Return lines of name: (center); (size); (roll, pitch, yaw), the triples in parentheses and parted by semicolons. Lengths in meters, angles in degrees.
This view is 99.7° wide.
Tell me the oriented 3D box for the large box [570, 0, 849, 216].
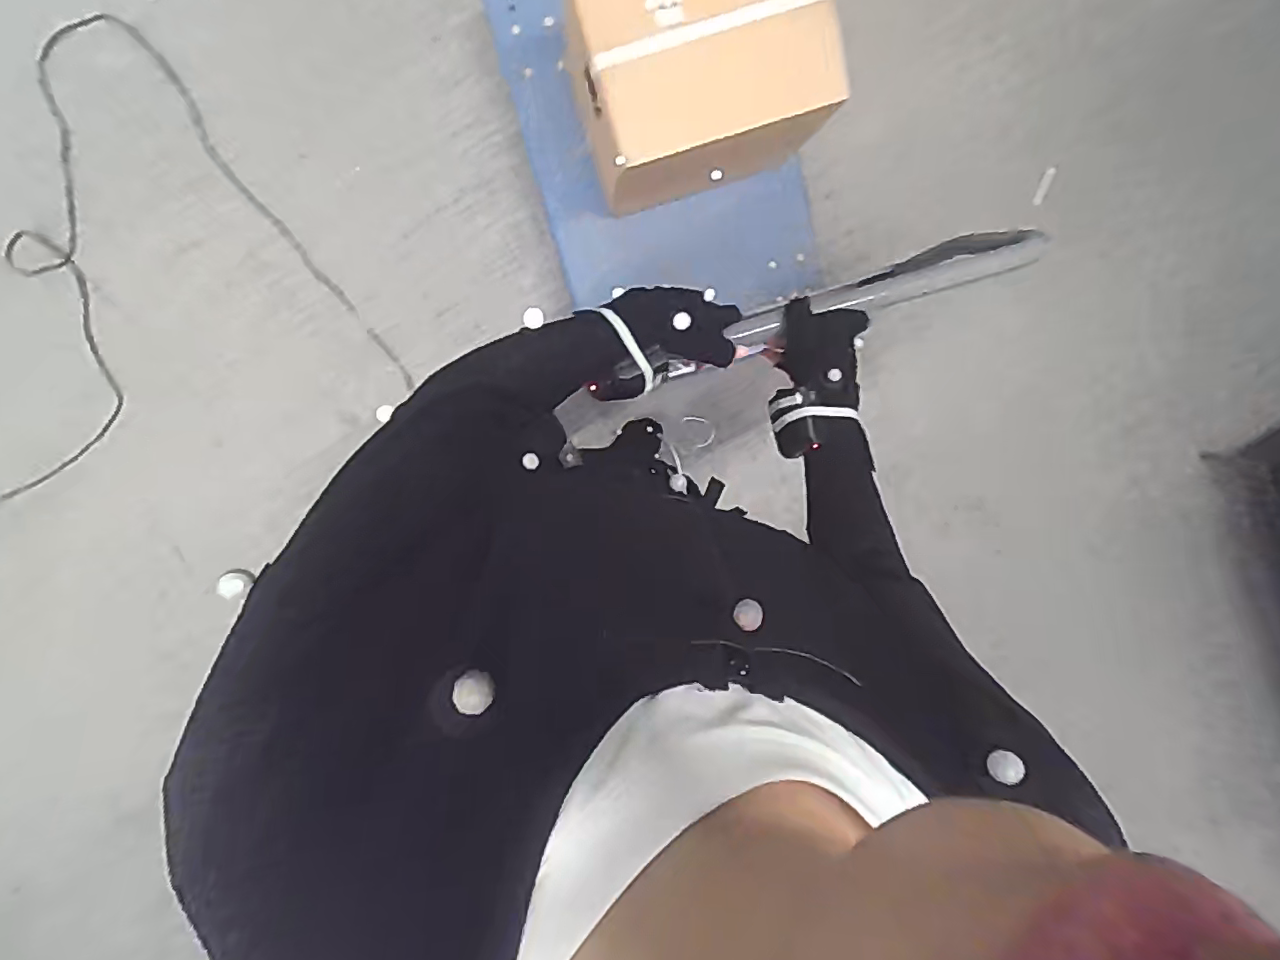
large box: (0.110, -0.754, 1.022); (0.408, 0.320, 0.320); (-19, 102, -1)
